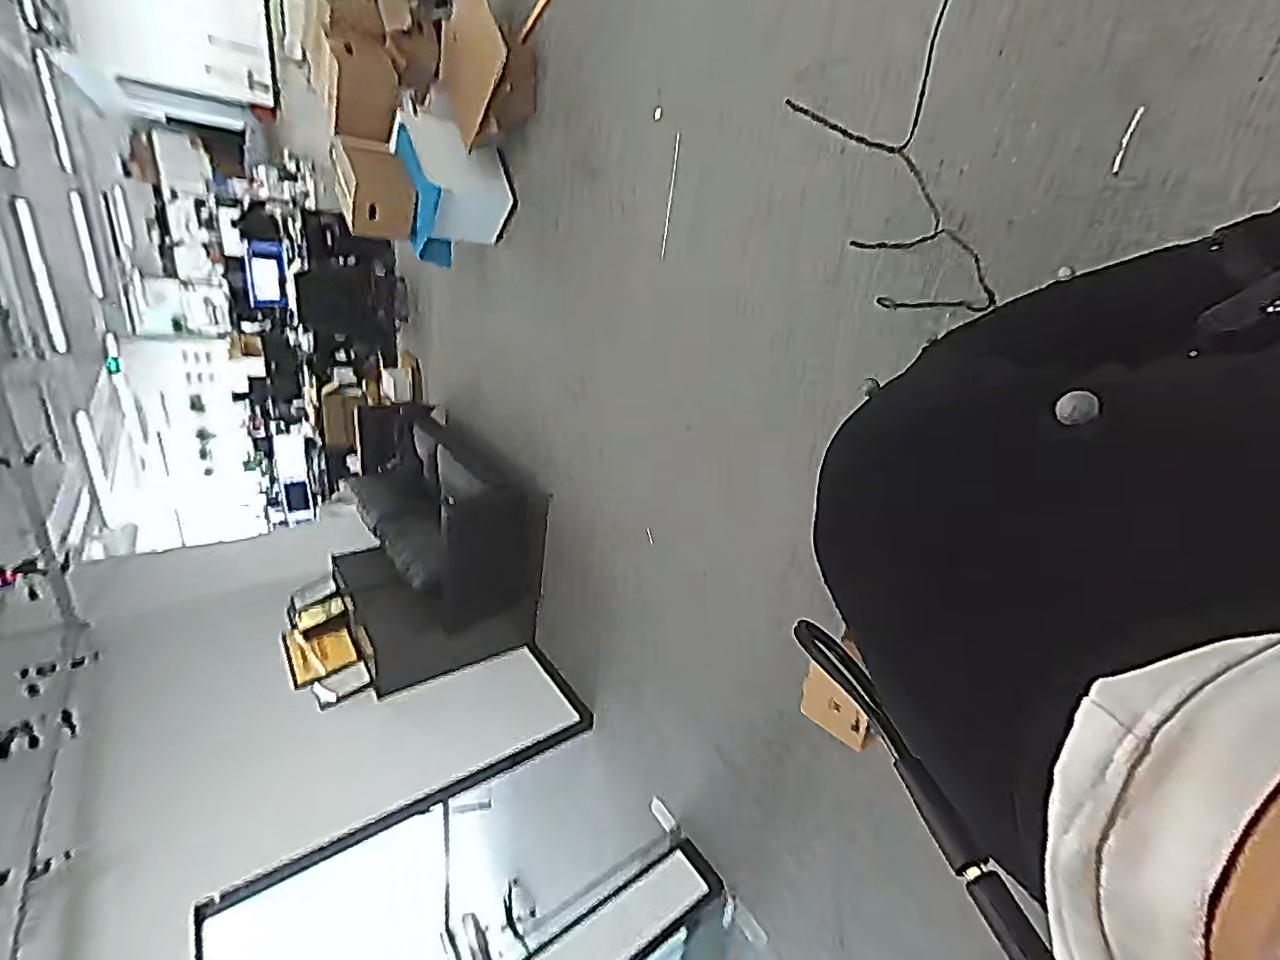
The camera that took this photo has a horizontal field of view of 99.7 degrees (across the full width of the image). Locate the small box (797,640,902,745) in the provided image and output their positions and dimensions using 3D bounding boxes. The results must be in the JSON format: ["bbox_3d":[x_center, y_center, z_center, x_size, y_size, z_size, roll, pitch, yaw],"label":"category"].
[{"bbox_3d":[0.545,0.539,1.407,0.179,0.176,0.168,26,118,47],"label":"small box"}]
